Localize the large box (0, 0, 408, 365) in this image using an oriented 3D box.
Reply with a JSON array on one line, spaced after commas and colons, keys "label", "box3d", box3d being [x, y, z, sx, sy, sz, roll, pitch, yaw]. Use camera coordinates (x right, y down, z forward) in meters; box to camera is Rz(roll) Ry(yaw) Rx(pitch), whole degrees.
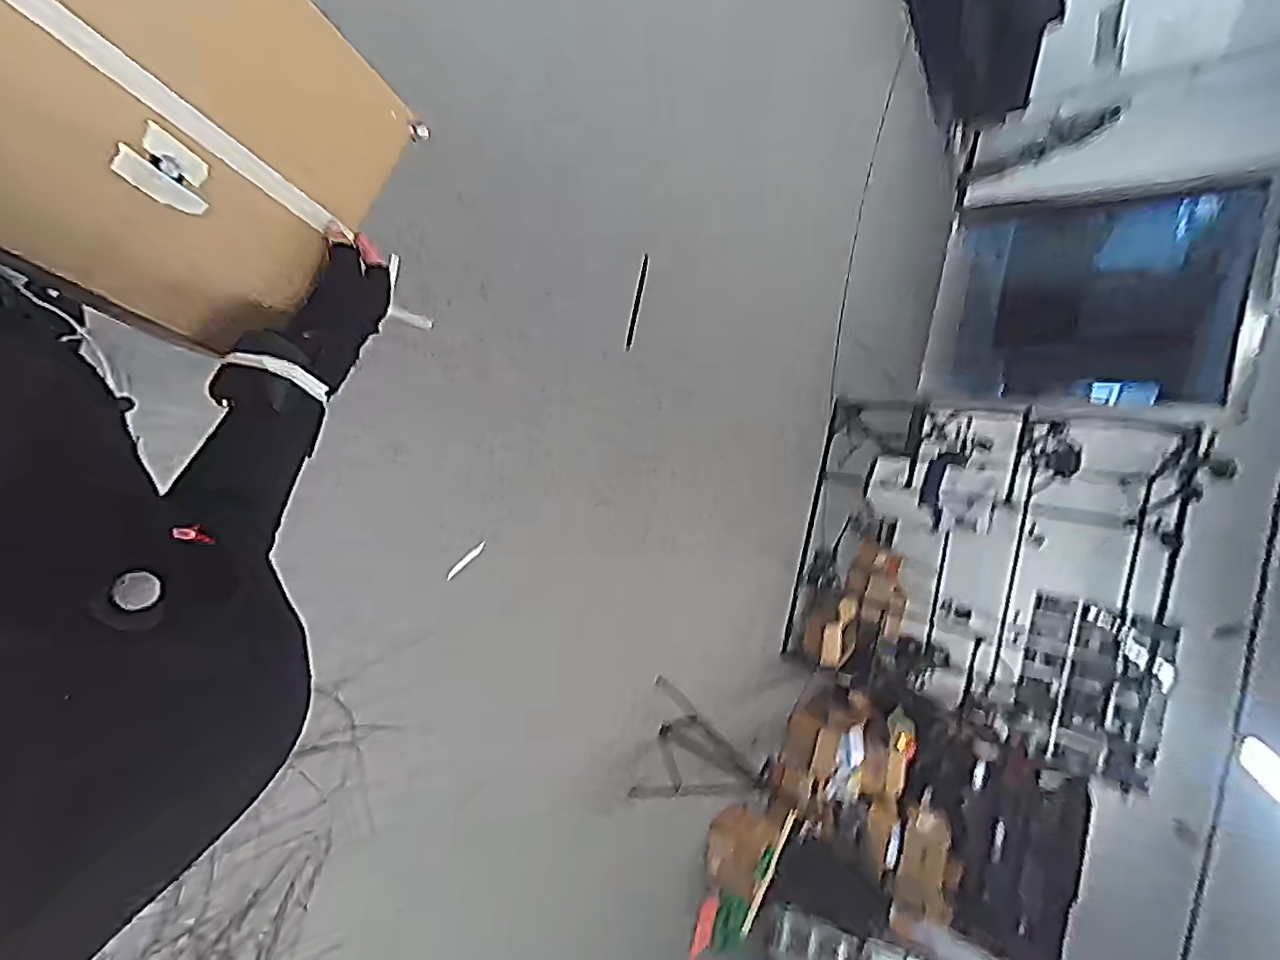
[{"label": "large box", "box3d": [-0.517, -0.352, 0.478, 0.408, 0.320, 0.320, 36, 76, -54]}]
